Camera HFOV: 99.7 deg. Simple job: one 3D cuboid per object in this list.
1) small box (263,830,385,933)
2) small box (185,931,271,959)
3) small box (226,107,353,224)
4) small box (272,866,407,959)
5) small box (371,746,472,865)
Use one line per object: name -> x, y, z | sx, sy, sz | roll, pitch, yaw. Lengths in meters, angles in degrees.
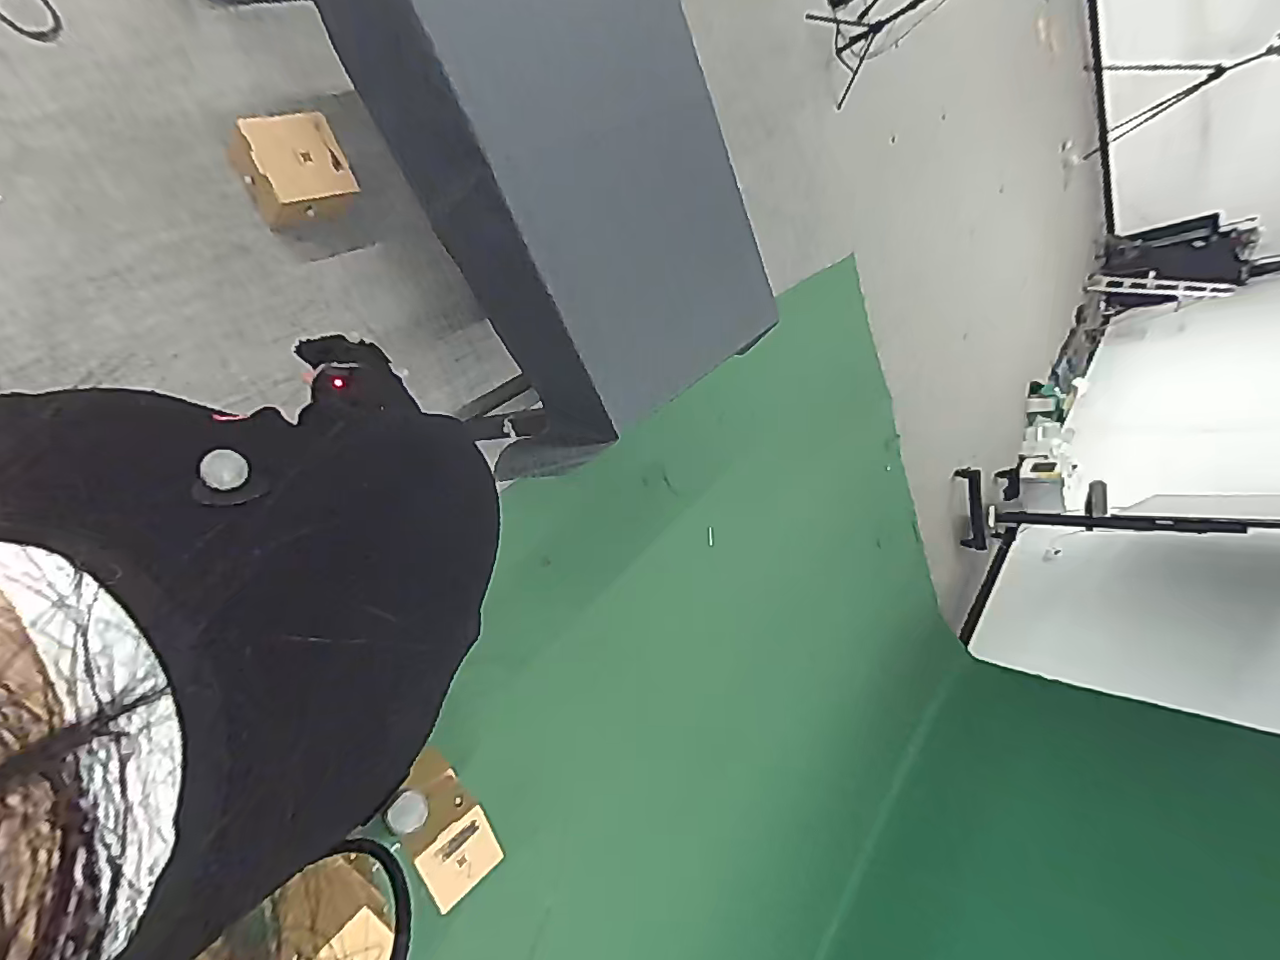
small box -> -0.744, 0.967, 1.269 | 0.168, 0.176, 0.179 | -43, 118, -33
small box -> -0.897, 1.111, 1.138 | 0.168, 0.176, 0.179 | -46, 119, -31
small box -> -0.778, -0.691, 1.198 | 0.179, 0.176, 0.168 | -36, 113, -35
small box -> -0.639, 0.978, 1.145 | 0.179, 0.176, 0.168 | -39, 116, -34
small box -> -0.574, 0.843, 1.419 | 0.168, 0.176, 0.179 | -28, 108, -39
